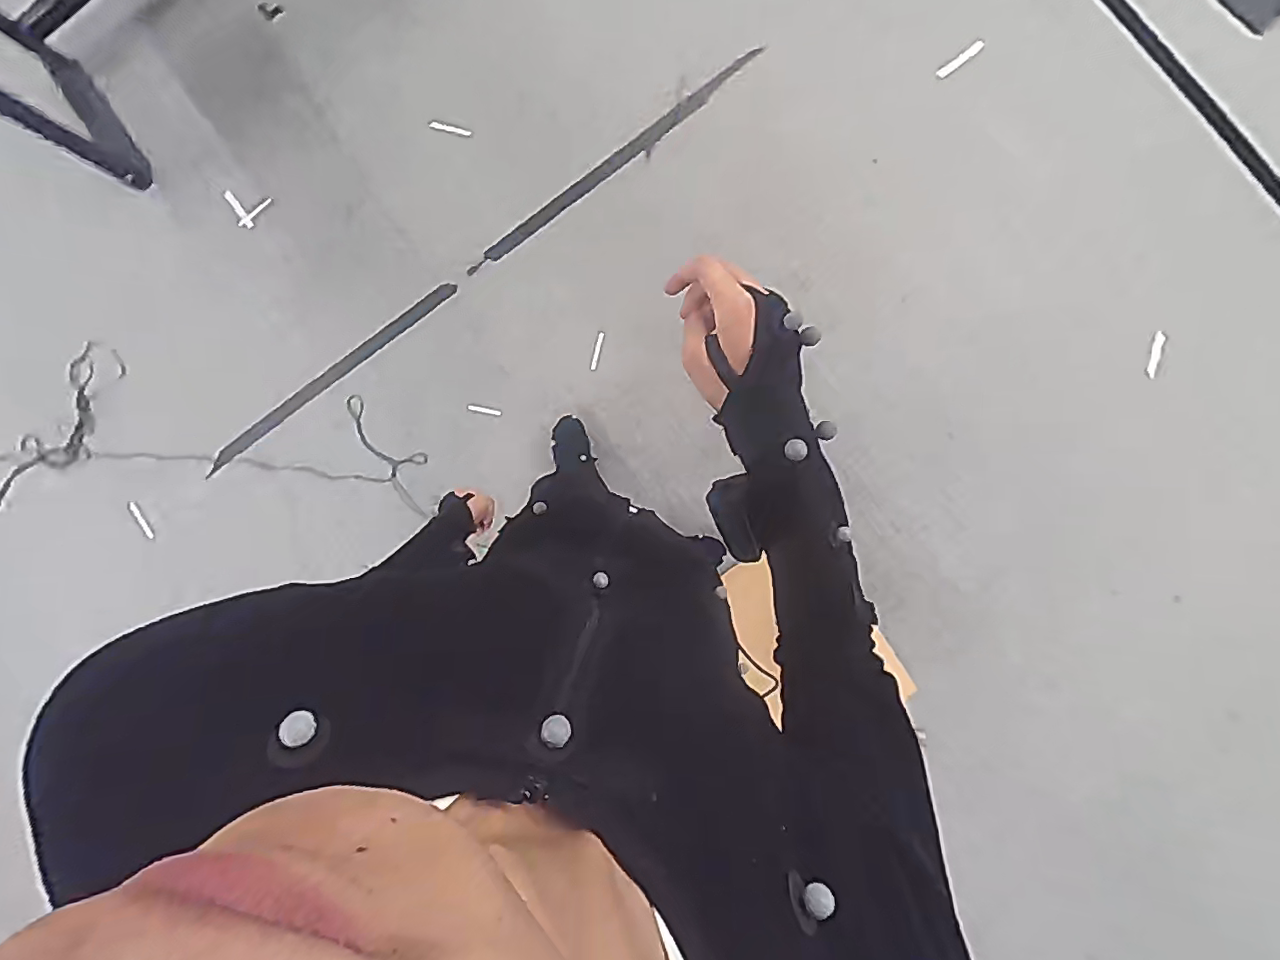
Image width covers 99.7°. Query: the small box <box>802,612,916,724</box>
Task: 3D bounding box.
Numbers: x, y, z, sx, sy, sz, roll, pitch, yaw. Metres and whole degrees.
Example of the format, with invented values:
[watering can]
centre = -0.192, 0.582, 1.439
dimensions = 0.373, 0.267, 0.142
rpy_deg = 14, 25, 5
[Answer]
[small box]
centre = 0.525, 0.449, 1.320
dimensions = 0.168, 0.176, 0.179
rpy_deg = -32, 86, 3
